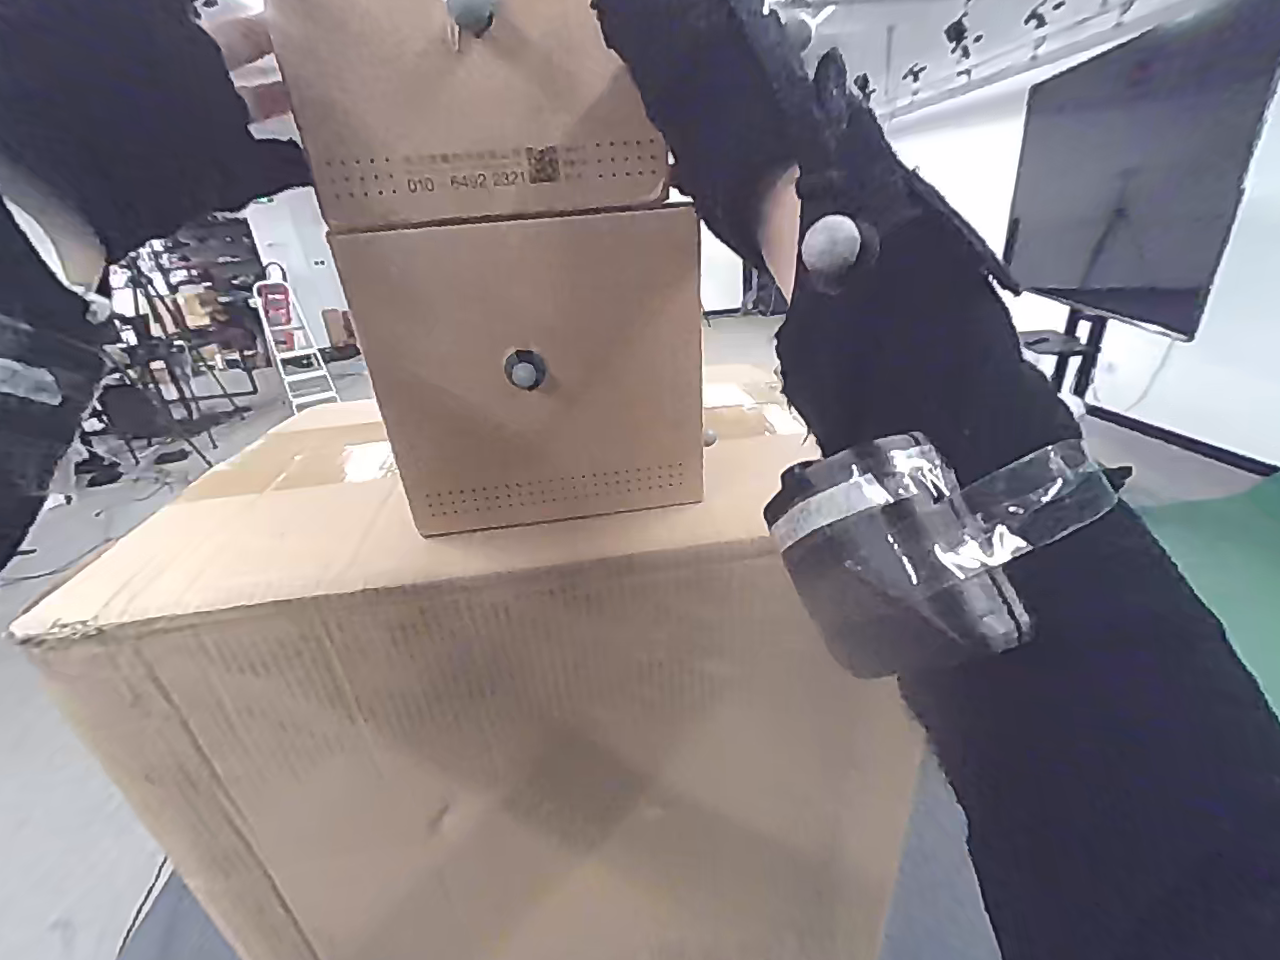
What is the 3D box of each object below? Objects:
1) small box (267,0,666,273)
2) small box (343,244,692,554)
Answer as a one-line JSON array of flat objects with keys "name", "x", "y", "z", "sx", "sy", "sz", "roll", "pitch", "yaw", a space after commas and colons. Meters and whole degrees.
[{"name": "small box", "x": -0.084, "y": -0.215, "z": 0.315, "sx": 0.168, "sy": 0.176, "sz": 0.179, "roll": -9, "pitch": 27, "yaw": -7}, {"name": "small box", "x": -0.063, "y": -0.067, "z": 0.375, "sx": 0.179, "sy": 0.176, "sz": 0.168, "roll": -6, "pitch": 27, "yaw": -4}]
